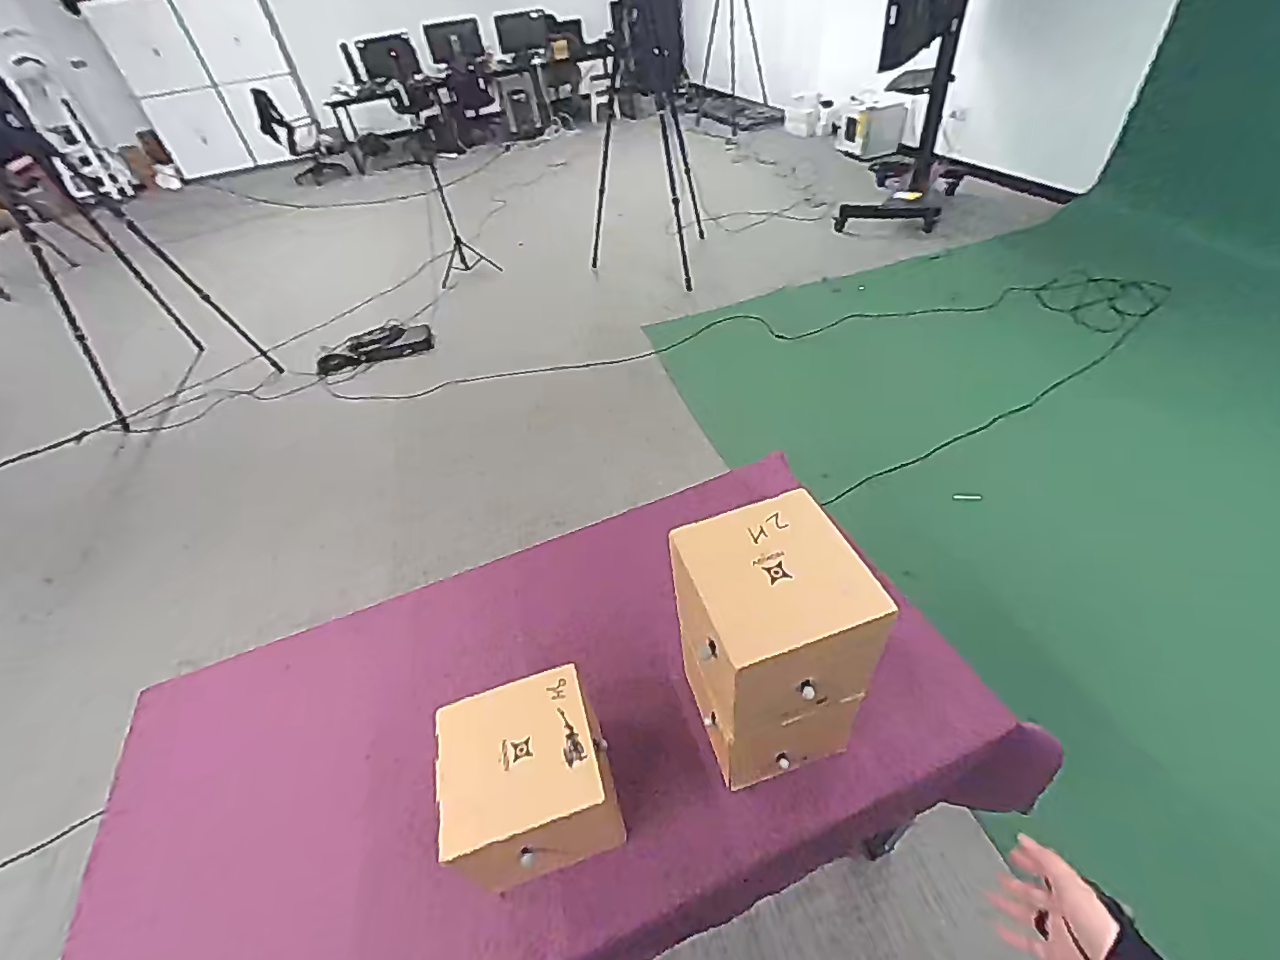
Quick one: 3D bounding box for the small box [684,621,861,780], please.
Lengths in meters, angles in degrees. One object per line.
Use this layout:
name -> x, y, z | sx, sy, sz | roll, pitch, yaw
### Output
small box -> 0.161, 0.261, 0.719 | 0.168, 0.176, 0.179 | -16, 45, -7

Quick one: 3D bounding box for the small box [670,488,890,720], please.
small box -> 0.143, 0.143, 0.605 | 0.168, 0.176, 0.179 | -17, 44, -8

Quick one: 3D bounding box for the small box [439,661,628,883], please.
small box -> -0.128, 0.360, 0.665 | 0.179, 0.176, 0.168 | -18, 44, -7
